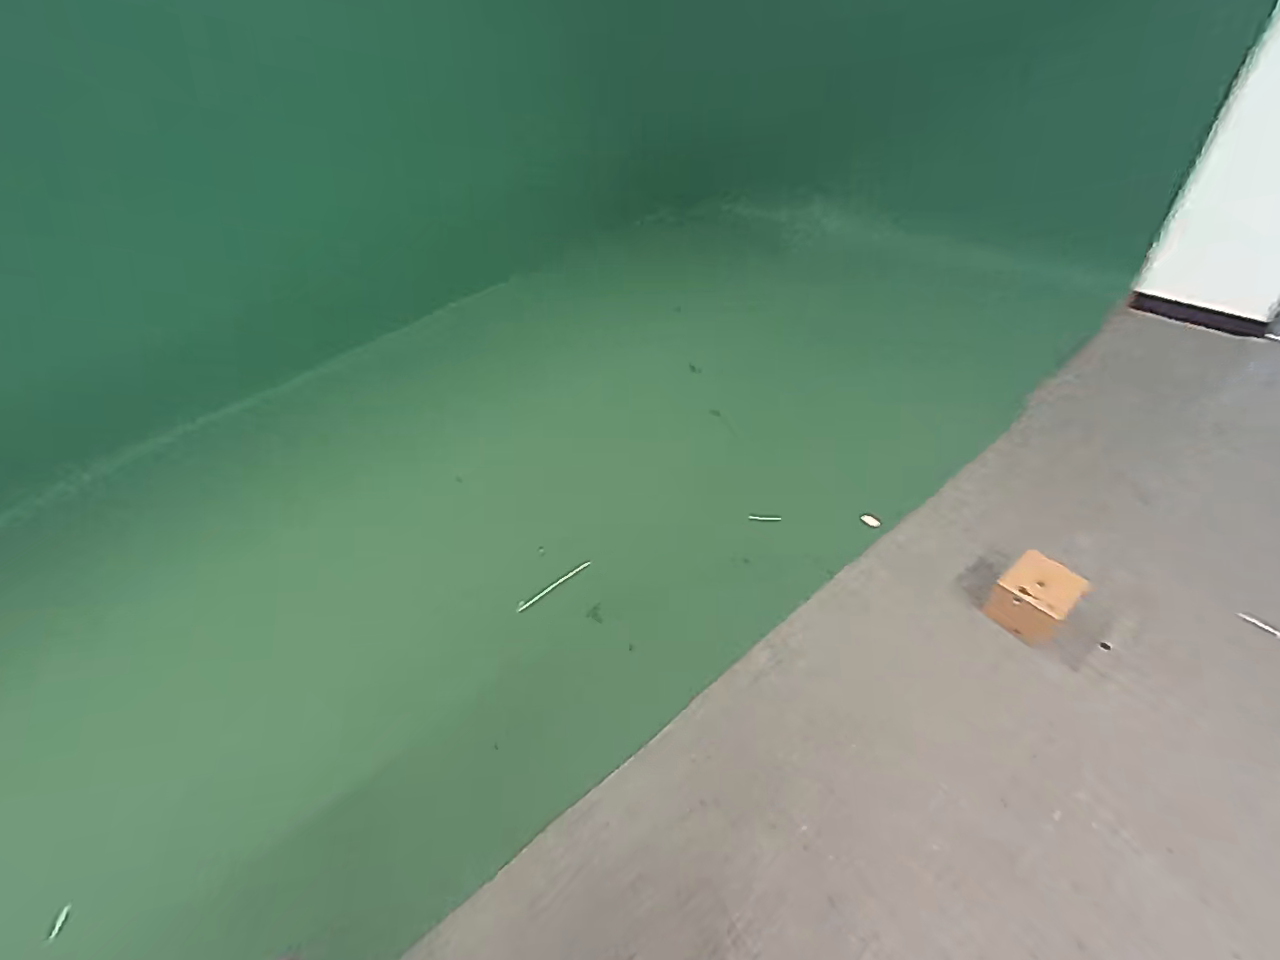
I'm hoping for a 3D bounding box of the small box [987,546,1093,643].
[{"bbox_3d":[1.148,0.333,1.569,0.179,0.176,0.168,-33,48,-19],"label":"small box"}]
